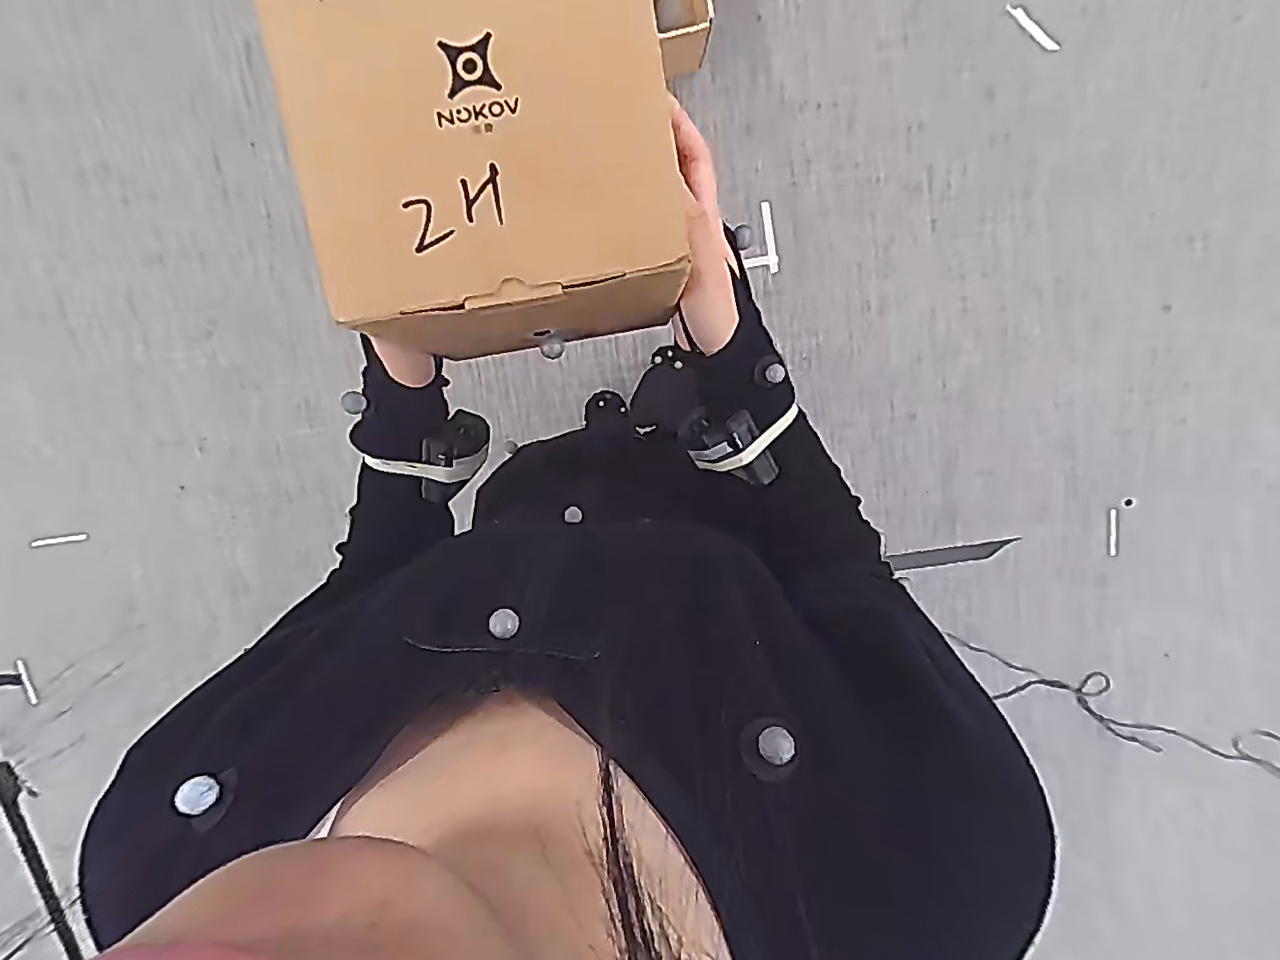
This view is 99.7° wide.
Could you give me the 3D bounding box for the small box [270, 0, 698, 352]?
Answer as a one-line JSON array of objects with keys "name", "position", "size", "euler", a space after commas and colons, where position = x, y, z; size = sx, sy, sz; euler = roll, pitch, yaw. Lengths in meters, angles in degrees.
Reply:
[{"name": "small box", "position": [-0.069, -0.181, 0.310], "size": [0.168, 0.176, 0.179], "euler": [-10, 97, 0]}]
